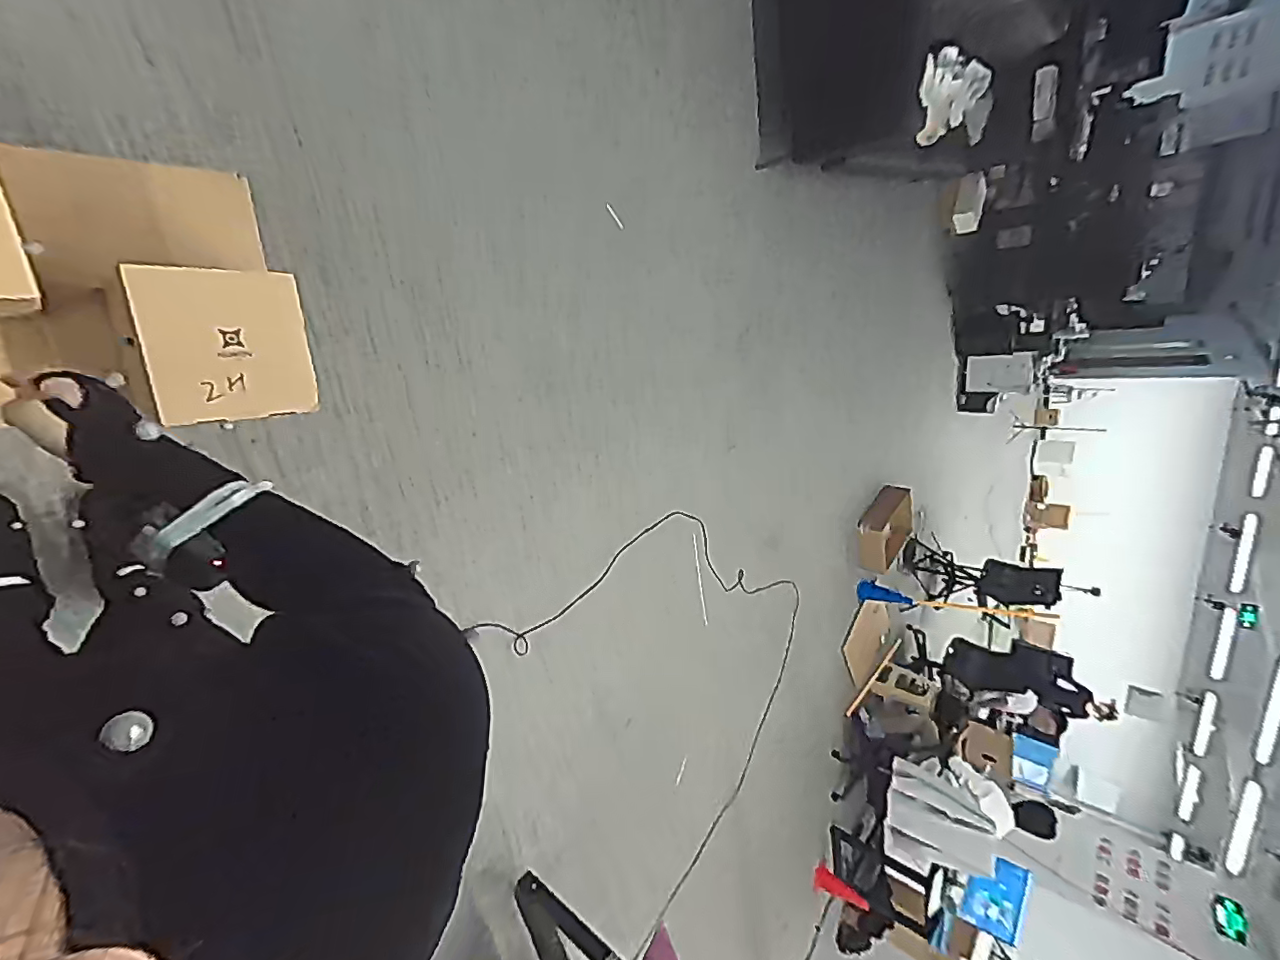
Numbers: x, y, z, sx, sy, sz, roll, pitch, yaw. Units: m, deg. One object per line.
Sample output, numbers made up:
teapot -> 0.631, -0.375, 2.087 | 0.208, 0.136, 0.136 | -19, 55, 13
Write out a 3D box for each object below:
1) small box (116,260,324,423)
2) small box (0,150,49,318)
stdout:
small box -> -0.539, -0.169, 0.695 | 0.168, 0.176, 0.179 | -17, 107, -45
small box -> -0.705, -0.243, 0.505 | 0.179, 0.176, 0.168 | -20, 110, -44
